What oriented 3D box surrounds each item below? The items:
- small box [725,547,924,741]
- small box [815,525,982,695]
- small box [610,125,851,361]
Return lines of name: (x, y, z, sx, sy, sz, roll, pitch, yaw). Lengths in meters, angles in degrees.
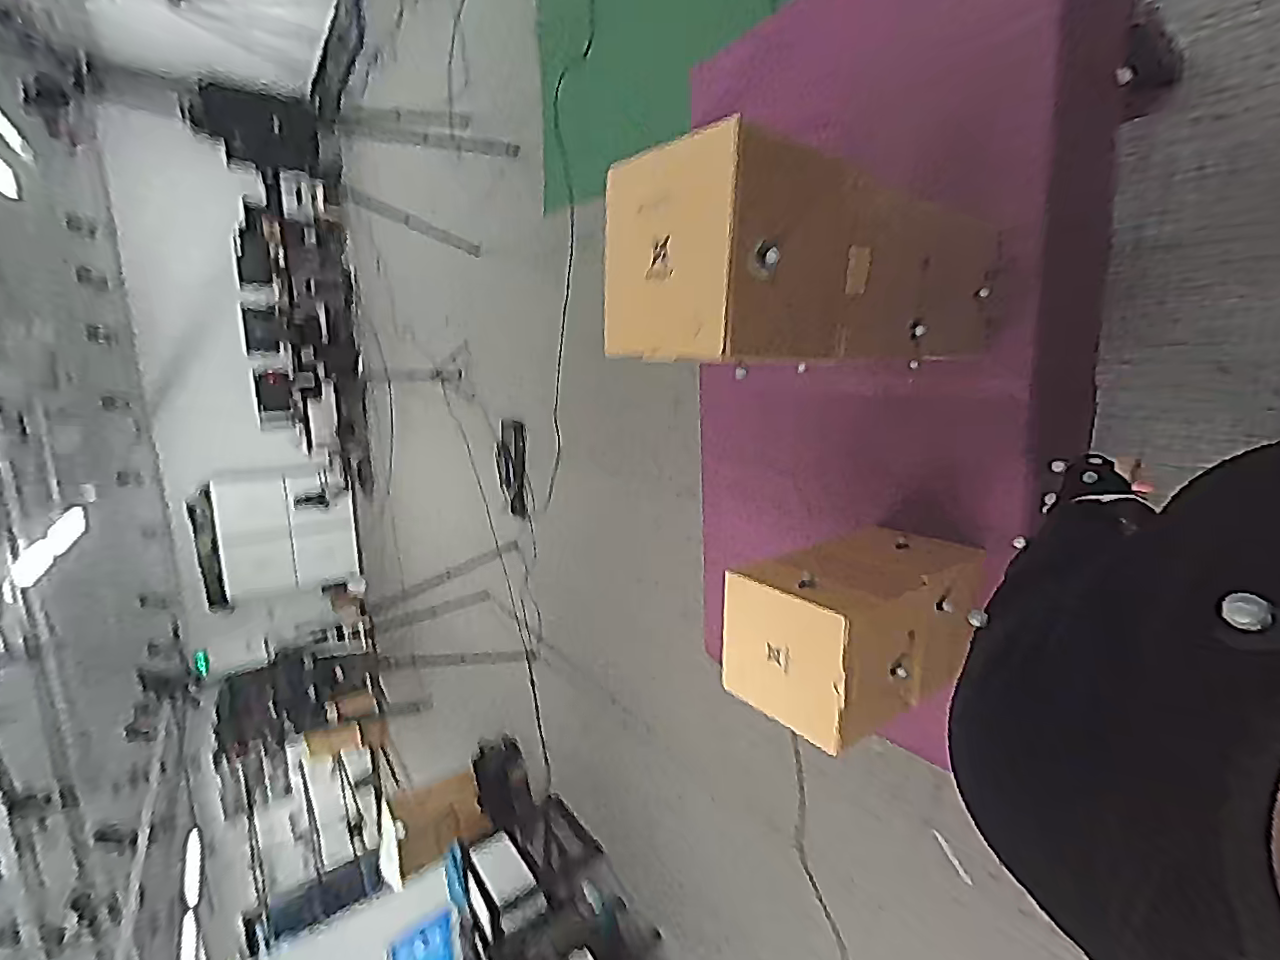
small box: (0.232, 0.191, 0.696, 0.179, 0.176, 0.168, 13, 107, 51)
small box: (0.368, 0.171, 0.783, 0.168, 0.176, 0.179, 13, 107, 53)
small box: (0.085, -0.210, 0.532, 0.168, 0.176, 0.179, 18, 111, 49)
